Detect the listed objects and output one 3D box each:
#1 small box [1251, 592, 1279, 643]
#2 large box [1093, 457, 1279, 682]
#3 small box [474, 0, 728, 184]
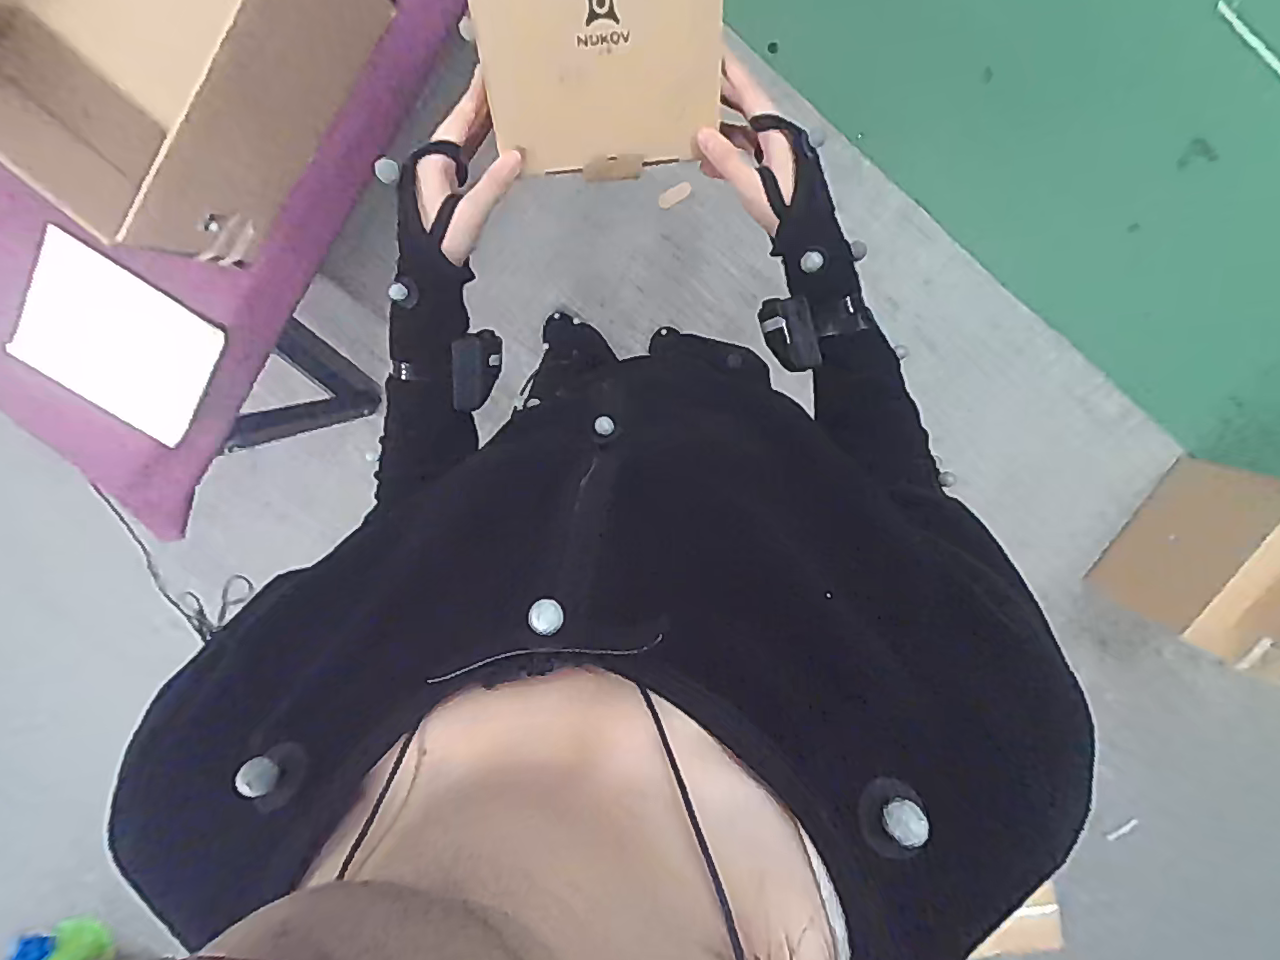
[{"bbox_3d":[1.410,0.294,1.071,0.168,0.176,0.179,29,106,-1],"label":"small box"},{"bbox_3d":[1.442,0.208,1.300,0.320,0.320,0.408,25,104,-3],"label":"large box"},{"bbox_3d":[-0.034,-0.348,0.414,0.168,0.176,0.179,-9,131,-5],"label":"small box"}]
